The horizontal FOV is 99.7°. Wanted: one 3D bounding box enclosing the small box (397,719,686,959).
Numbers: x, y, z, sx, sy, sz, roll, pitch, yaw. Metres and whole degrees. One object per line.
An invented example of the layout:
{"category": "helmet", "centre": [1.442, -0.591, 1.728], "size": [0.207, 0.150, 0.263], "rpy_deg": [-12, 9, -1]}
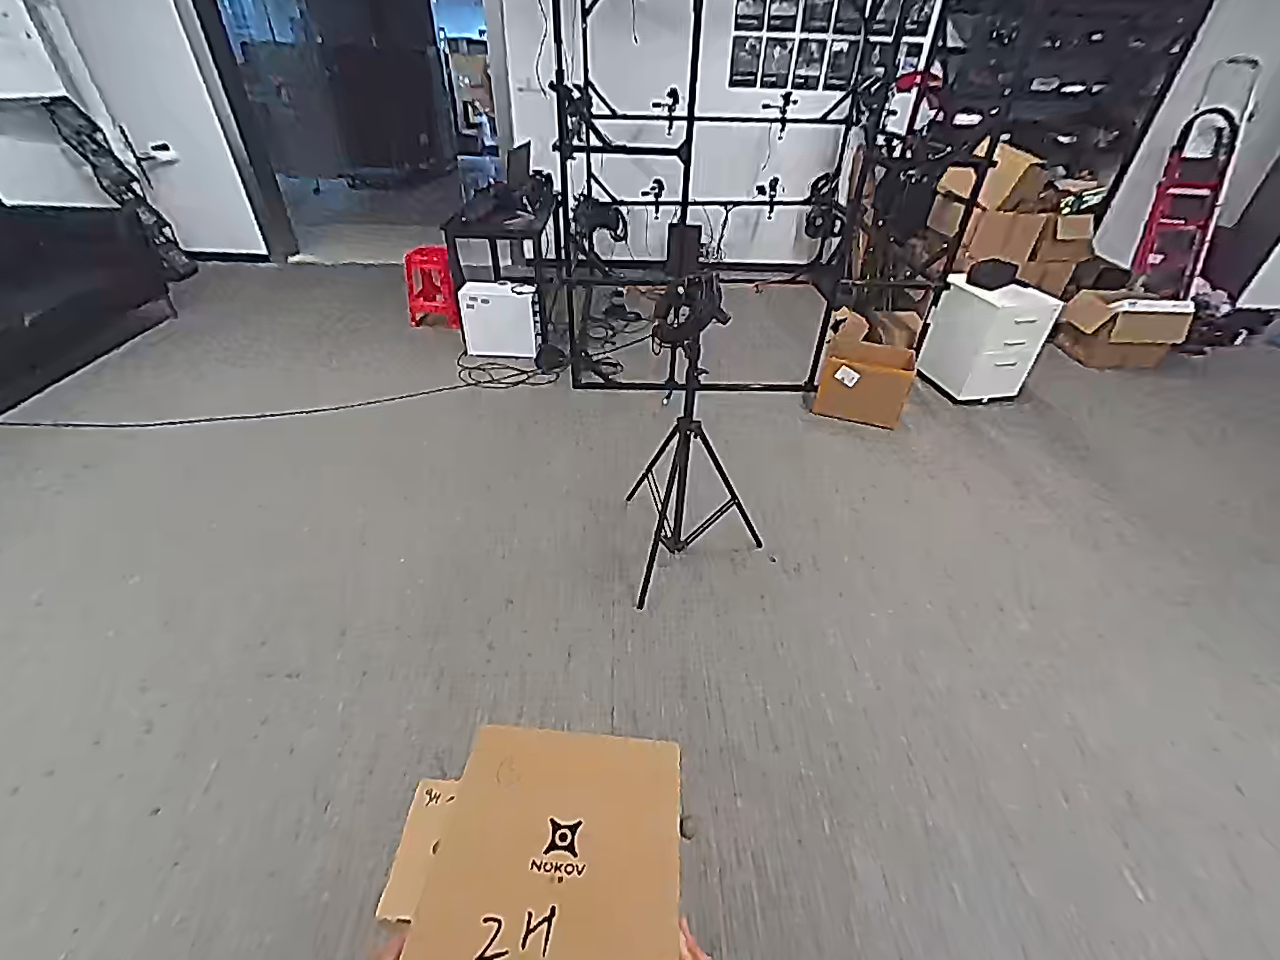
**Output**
{"category": "small box", "centre": [-0.057, 0.312, 0.402], "size": [0.168, 0.176, 0.179], "rpy_deg": [5, 34, 2]}
